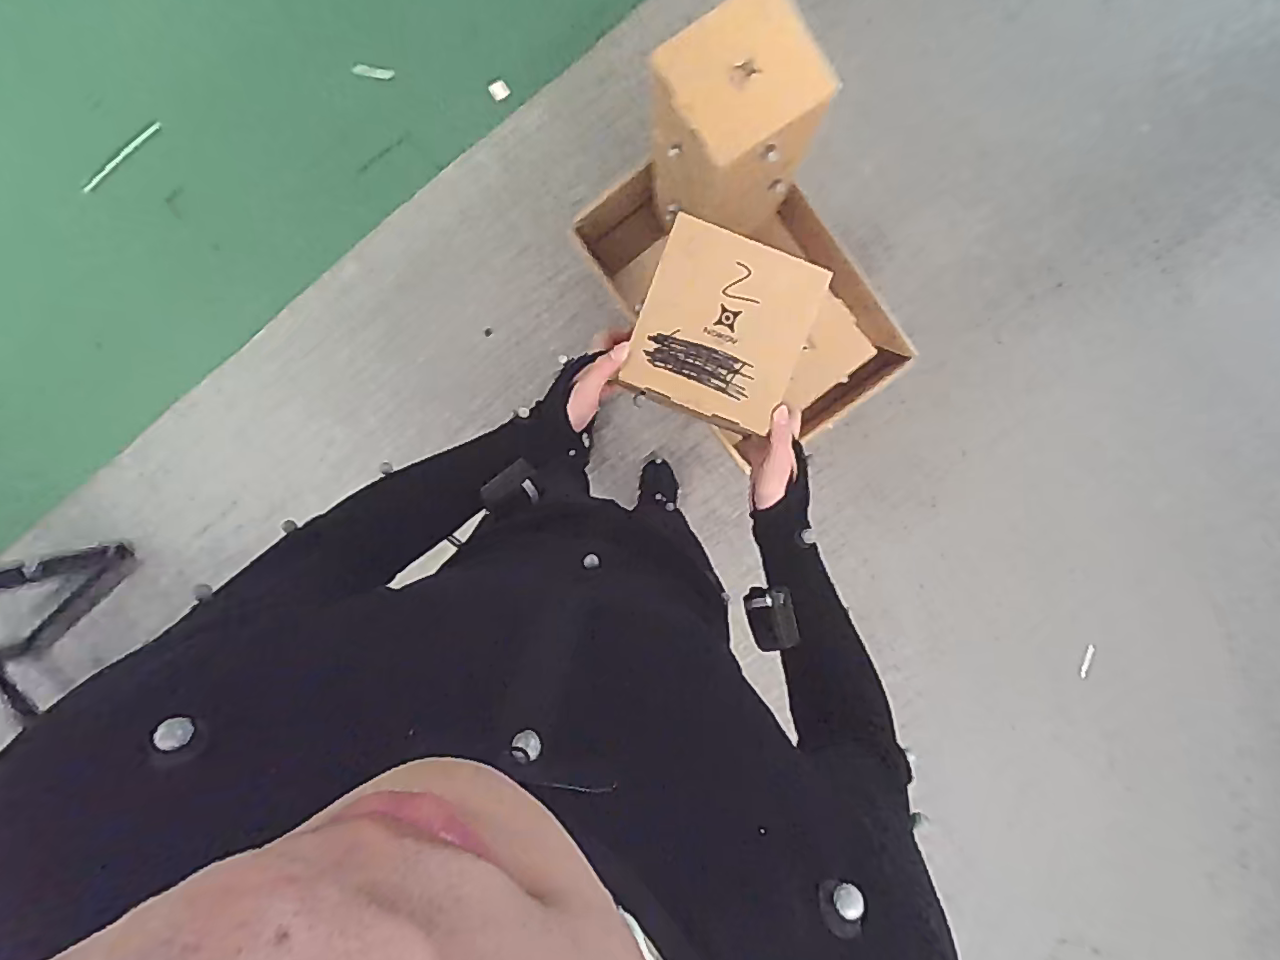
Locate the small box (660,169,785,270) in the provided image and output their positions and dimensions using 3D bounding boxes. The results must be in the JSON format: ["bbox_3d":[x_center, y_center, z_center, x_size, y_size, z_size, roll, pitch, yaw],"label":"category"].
[{"bbox_3d":[0.151,-0.547,1.062,0.179,0.176,0.168,-34,93,5],"label":"small box"}]

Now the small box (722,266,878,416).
[{"bbox_3d":[0.258,-0.224,0.921,0.179,0.176,0.168,-37,92,6],"label":"small box"}]

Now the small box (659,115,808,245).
[{"bbox_3d":[0.145,-0.531,0.899,0.179,0.176,0.168,-32,92,6],"label":"small box"}]

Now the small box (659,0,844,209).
[{"bbox_3d":[0.139,-0.514,0.738,0.179,0.176,0.168,-31,93,6],"label":"small box"}]

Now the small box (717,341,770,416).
[{"bbox_3d":[0.268,-0.240,1.083,0.179,0.176,0.168,-37,93,5],"label":"small box"}]
